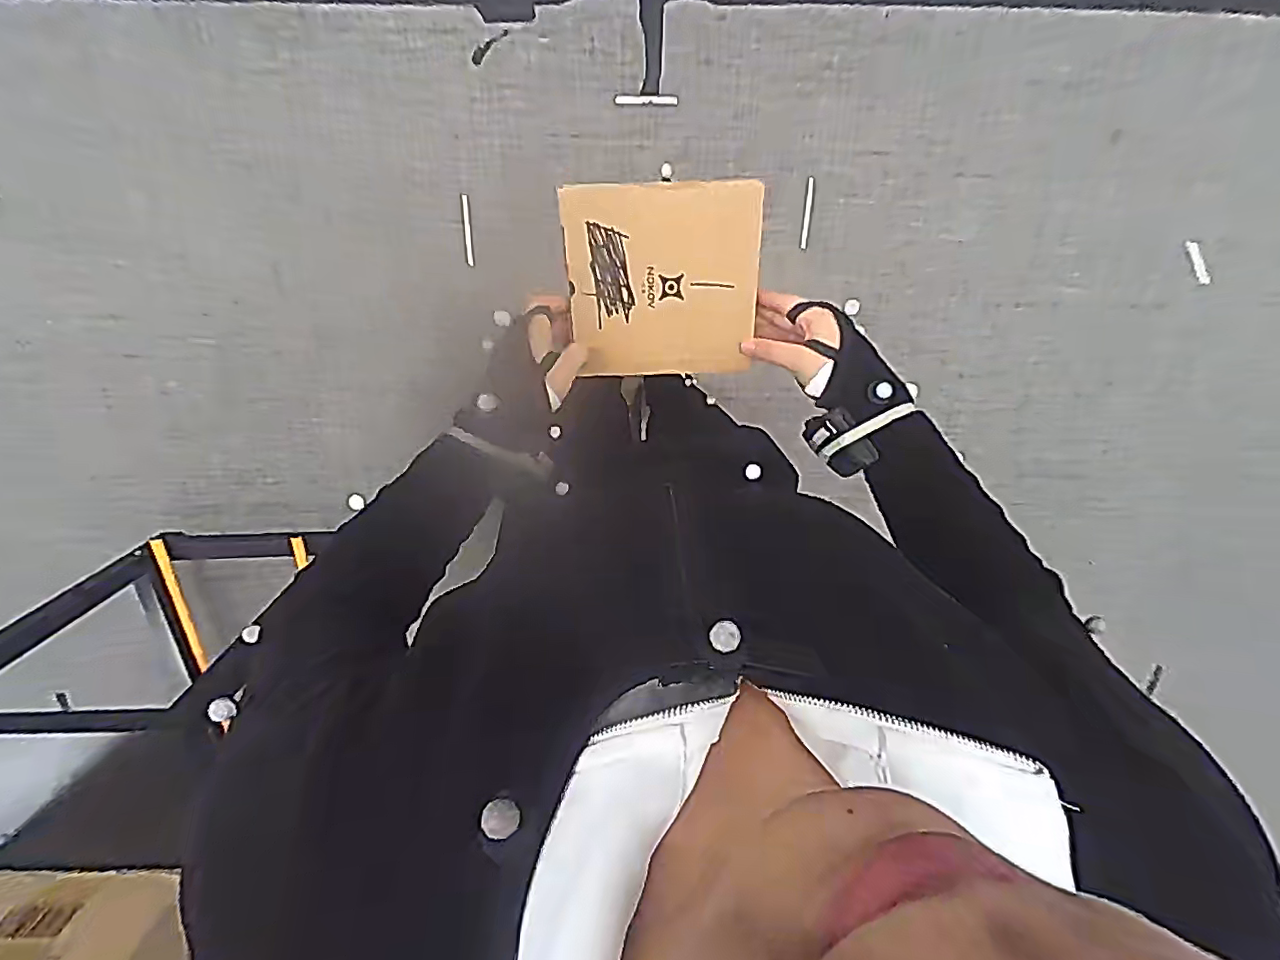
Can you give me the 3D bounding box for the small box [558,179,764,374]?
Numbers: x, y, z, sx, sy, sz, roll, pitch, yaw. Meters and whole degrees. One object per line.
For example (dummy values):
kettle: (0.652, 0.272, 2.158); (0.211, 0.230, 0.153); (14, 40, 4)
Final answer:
small box: (0.019, -0.215, 0.561); (0.179, 0.176, 0.168); (-2, 119, 0)
